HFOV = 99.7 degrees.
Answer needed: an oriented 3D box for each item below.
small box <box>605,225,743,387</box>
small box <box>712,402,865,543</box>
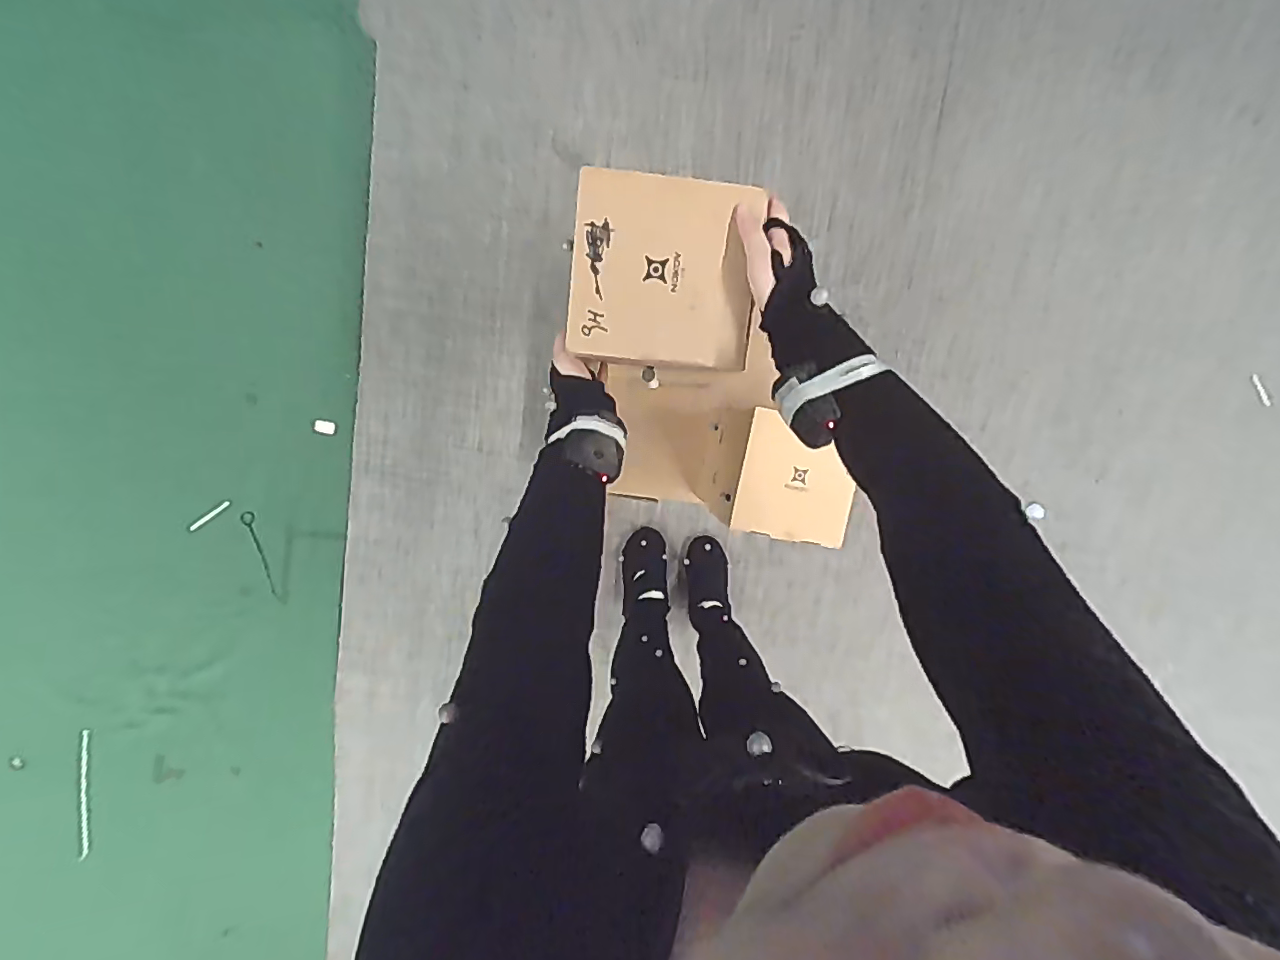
[{"bbox_3d":[0.042,-0.245,0.804,0.168,0.176,0.179,9,93,-2],"label":"small box"},{"bbox_3d":[0.215,-0.016,0.830,0.168,0.176,0.179,10,95,-4],"label":"small box"}]
